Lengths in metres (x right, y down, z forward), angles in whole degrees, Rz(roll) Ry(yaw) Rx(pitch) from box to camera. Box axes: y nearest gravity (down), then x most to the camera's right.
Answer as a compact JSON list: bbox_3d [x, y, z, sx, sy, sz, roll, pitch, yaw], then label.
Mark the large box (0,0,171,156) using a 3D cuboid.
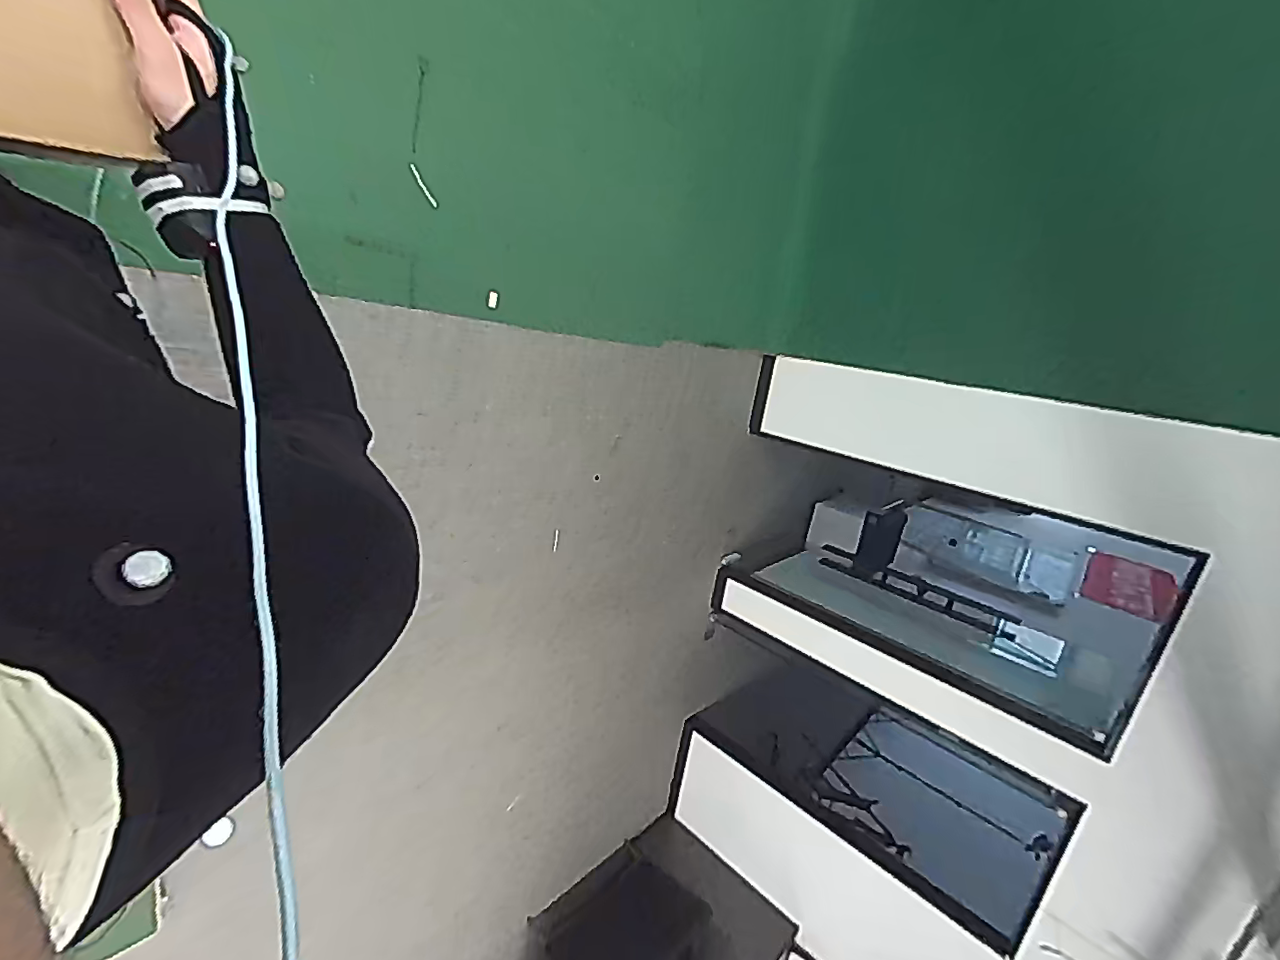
[{"bbox_3d":[-0.610,-0.420,0.335,0.408,0.320,0.320,-17,122,-46],"label":"large box"}]
